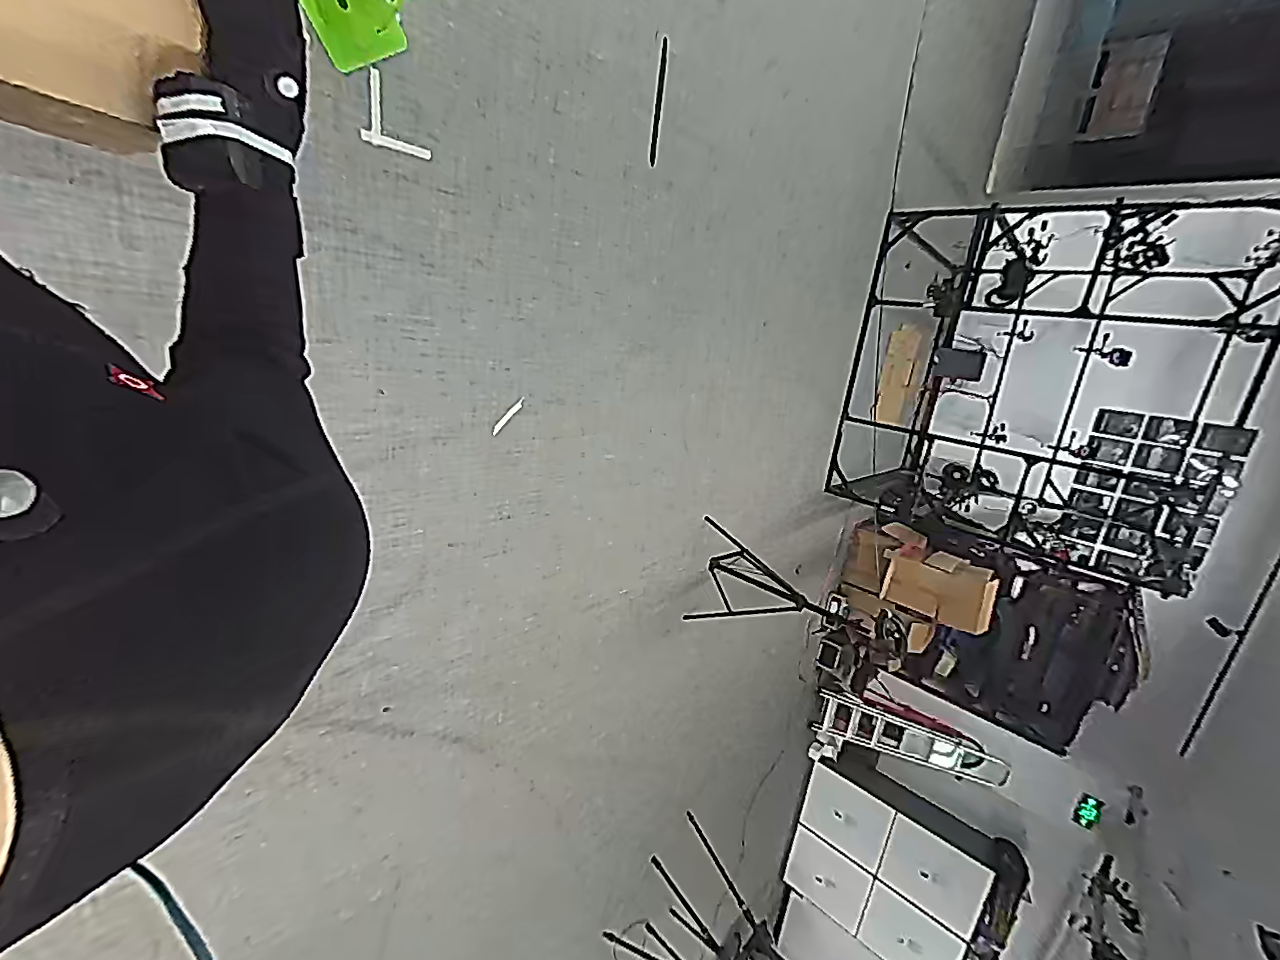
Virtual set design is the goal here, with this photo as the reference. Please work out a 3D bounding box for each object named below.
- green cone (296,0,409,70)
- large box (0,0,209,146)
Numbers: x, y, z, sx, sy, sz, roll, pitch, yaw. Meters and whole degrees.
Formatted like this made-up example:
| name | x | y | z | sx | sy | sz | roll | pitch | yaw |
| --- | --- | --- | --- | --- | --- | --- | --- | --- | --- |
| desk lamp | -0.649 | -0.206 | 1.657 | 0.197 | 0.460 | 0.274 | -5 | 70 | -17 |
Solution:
| name | x | y | z | sx | sy | sz | roll | pitch | yaw |
| --- | --- | --- | --- | --- | --- | --- | --- | --- | --- |
| green cone | -0.513 | -0.992 | 1.080 | 0.202 | 0.368 | 0.200 | -49 | 139 | -27 |
| large box | -0.535 | -0.434 | 0.300 | 0.408 | 0.320 | 0.320 | -7 | 115 | -52 |
